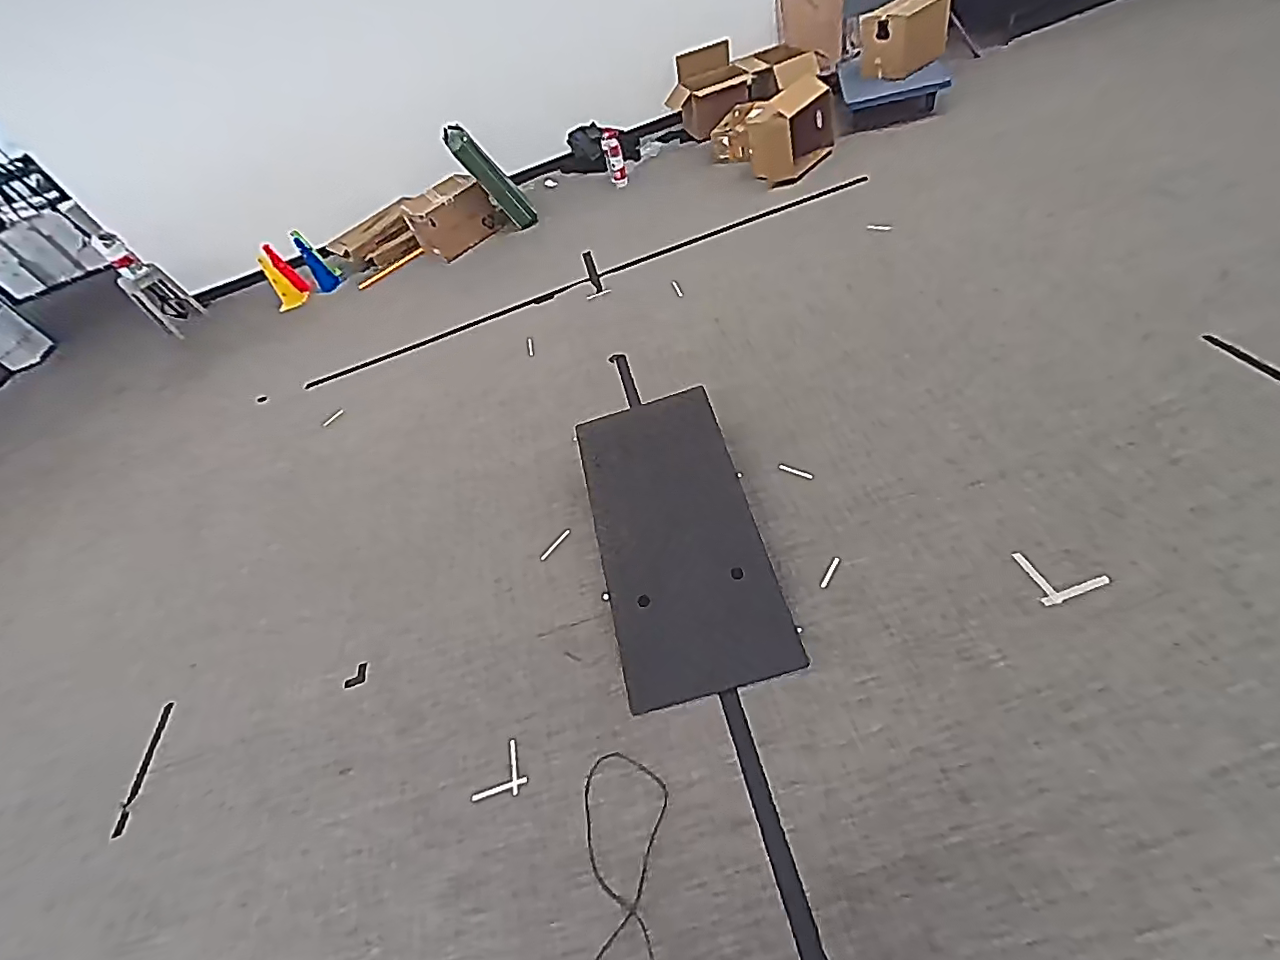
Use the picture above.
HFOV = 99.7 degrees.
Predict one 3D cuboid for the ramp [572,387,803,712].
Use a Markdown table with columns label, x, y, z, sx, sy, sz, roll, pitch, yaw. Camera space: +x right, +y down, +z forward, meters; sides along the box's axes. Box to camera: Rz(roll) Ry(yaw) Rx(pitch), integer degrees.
| label | x | y | z | sx | sy | sz | roll | pitch | yaw |
| --- | --- | --- | --- | --- | --- | --- | --- | --- | --- |
| ramp | 0.095 | 0.147 | 1.697 | 0.509 | 0.206 | 0.991 | -18 | 48 | 2 |
